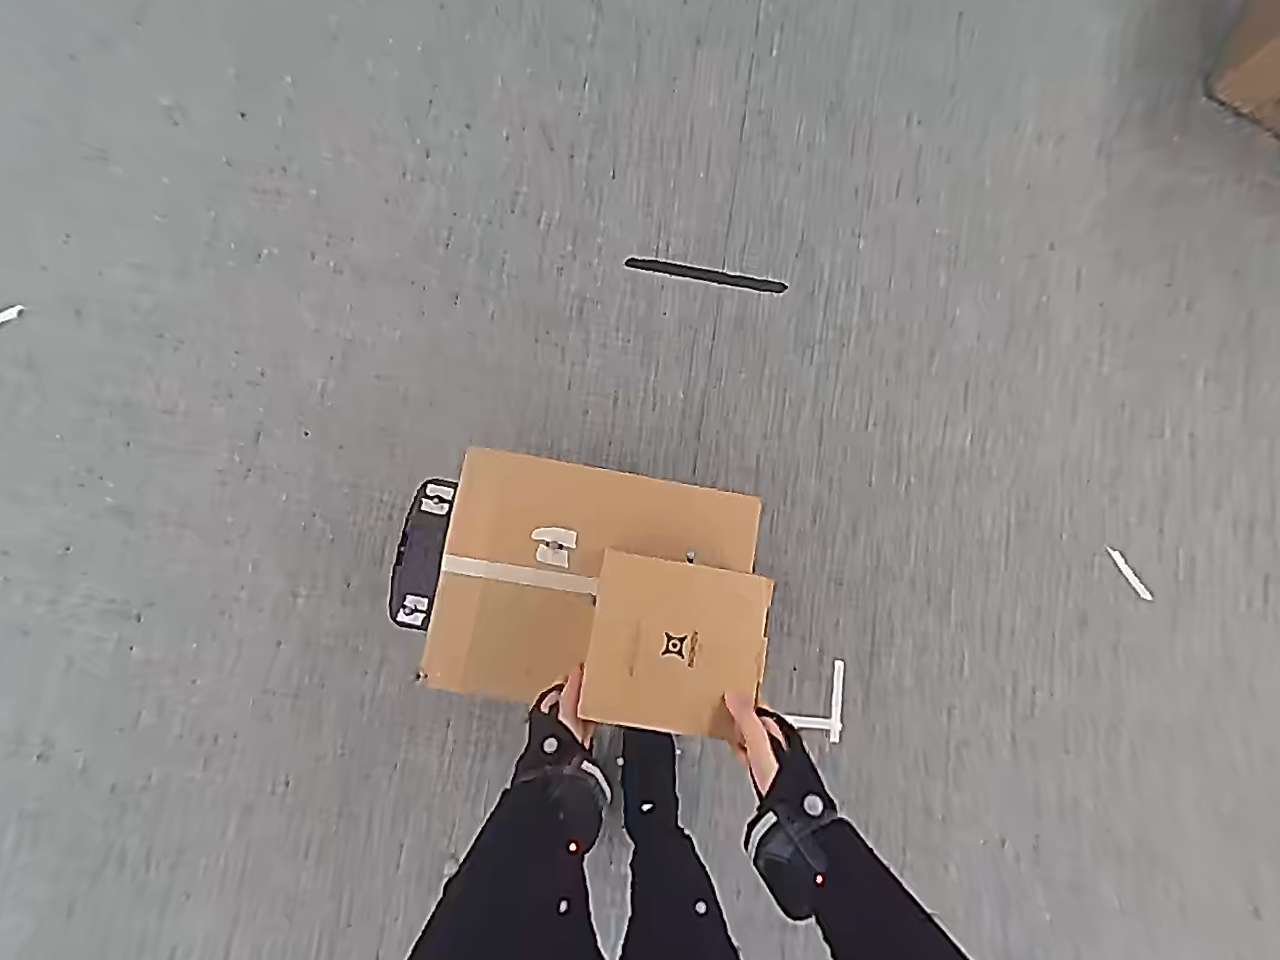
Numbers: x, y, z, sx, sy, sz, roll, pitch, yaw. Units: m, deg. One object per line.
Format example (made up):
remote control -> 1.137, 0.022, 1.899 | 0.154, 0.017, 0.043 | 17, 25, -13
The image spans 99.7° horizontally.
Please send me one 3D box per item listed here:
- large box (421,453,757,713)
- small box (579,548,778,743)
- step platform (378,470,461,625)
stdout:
large box -> -0.065, 0.161, 0.848 | 0.408, 0.320, 0.320 | 10, 81, -3
small box -> 0.035, 0.170, 0.608 | 0.179, 0.176, 0.168 | 11, 82, -3
step platform -> -0.141, 0.200, 1.077 | 0.684, 0.204, 0.286 | 16, 82, -2
